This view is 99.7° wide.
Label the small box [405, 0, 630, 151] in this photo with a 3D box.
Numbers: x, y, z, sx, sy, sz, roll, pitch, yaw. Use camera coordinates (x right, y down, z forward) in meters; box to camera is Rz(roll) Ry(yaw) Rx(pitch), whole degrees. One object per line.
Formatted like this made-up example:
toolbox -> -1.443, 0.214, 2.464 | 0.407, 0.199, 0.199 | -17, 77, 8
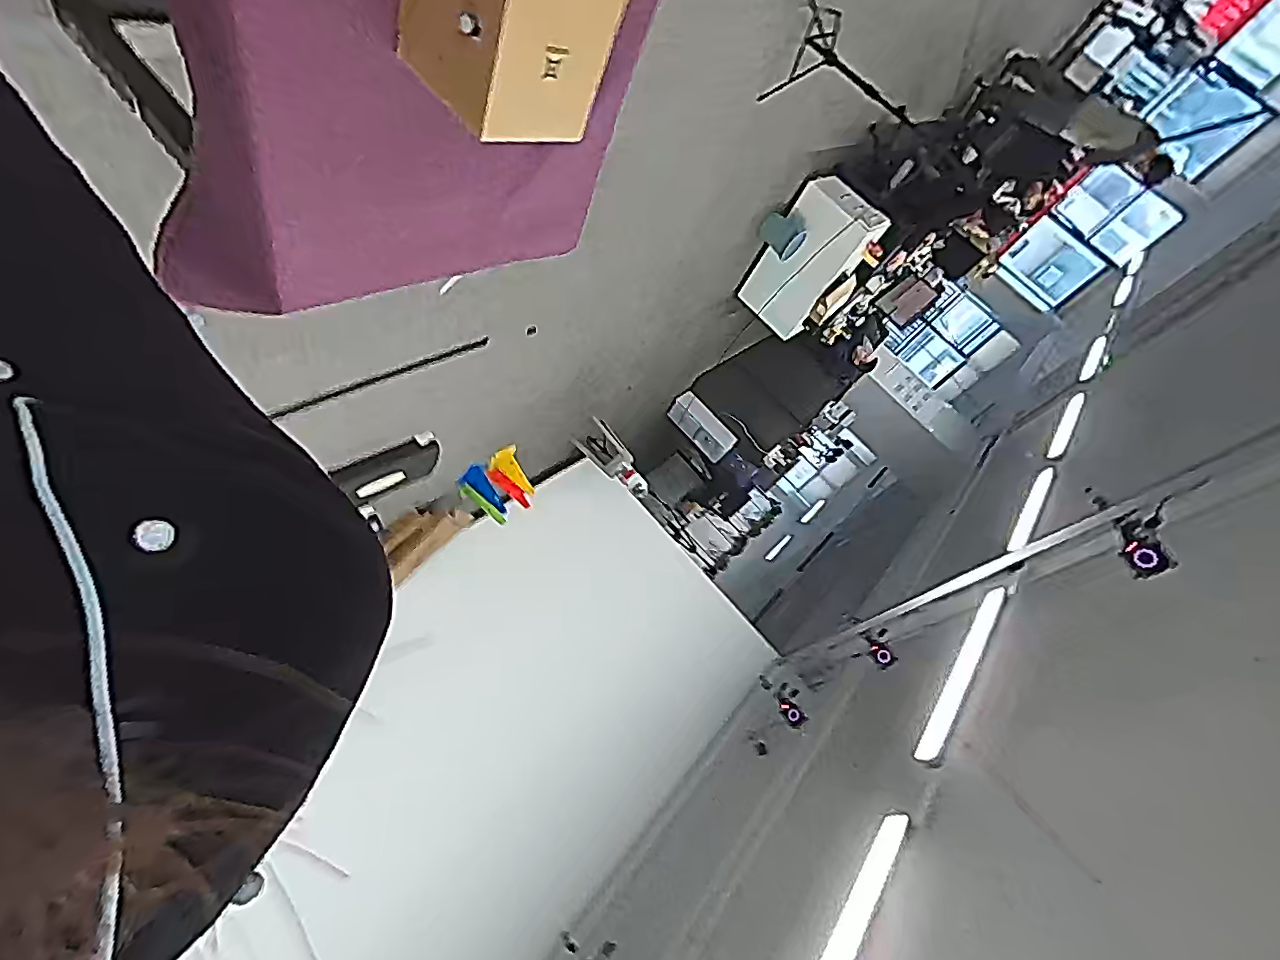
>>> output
small box -> -0.149, -0.518, 0.625 | 0.168, 0.176, 0.179 | -34, 166, -41
